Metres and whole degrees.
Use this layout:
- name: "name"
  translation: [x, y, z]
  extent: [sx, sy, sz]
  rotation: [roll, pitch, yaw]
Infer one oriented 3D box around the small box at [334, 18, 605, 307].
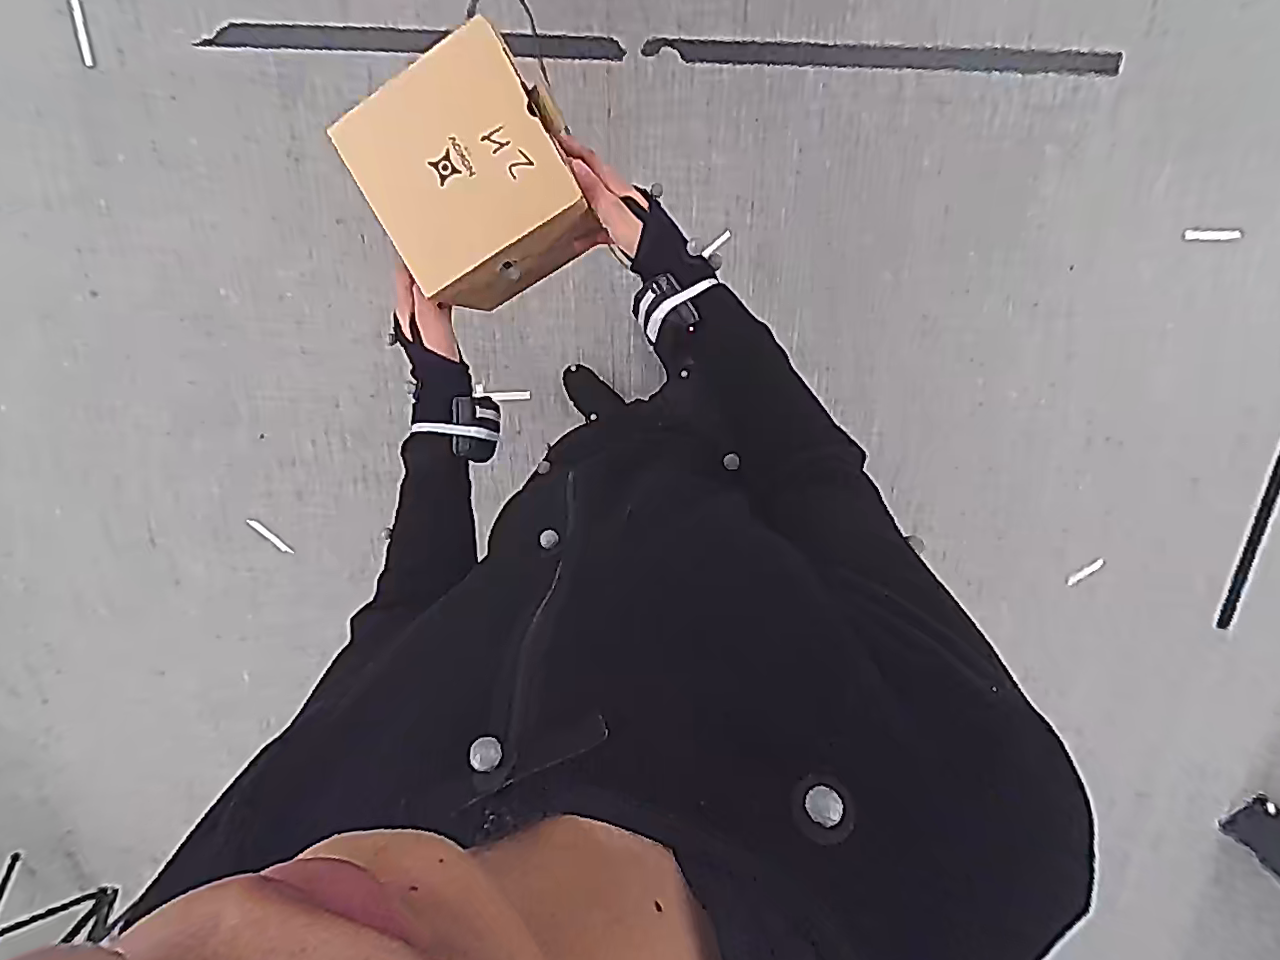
- name: "small box"
  translation: [-0.155, -0.295, 0.555]
  extent: [0.179, 0.176, 0.168]
  rotation: [-27, 99, 10]
